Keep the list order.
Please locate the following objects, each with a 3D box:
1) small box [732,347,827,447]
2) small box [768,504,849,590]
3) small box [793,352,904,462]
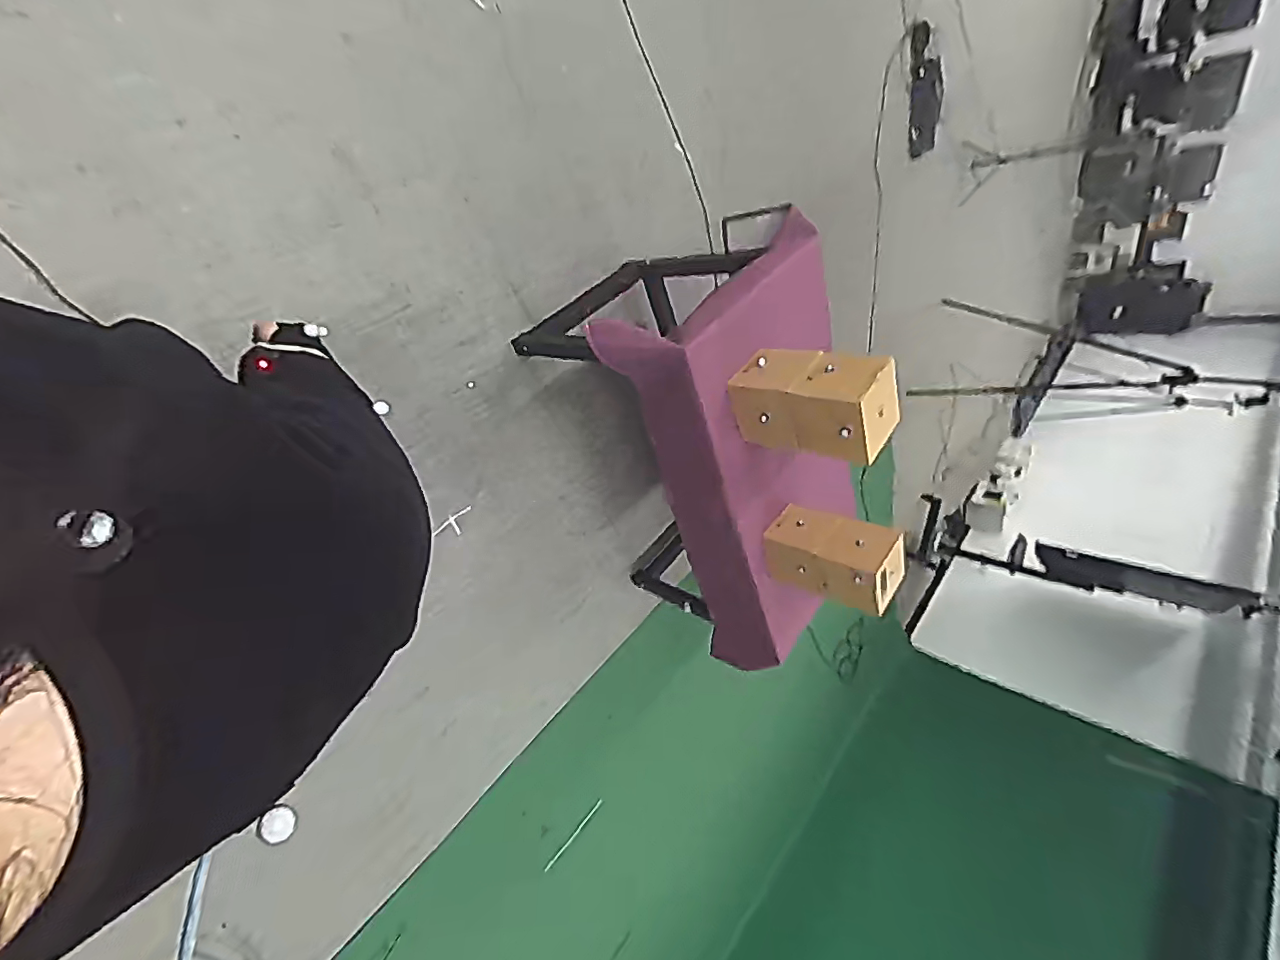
[{"bbox_3d":[0.349,-0.209,1.314,0.168,0.176,0.179,-46,130,-26],"label":"small box"},{"bbox_3d":[0.495,0.187,1.594,0.168,0.176,0.179,-40,128,-29],"label":"small box"},{"bbox_3d":[0.465,-0.170,1.207,0.168,0.176,0.179,-48,131,-25],"label":"small box"}]
